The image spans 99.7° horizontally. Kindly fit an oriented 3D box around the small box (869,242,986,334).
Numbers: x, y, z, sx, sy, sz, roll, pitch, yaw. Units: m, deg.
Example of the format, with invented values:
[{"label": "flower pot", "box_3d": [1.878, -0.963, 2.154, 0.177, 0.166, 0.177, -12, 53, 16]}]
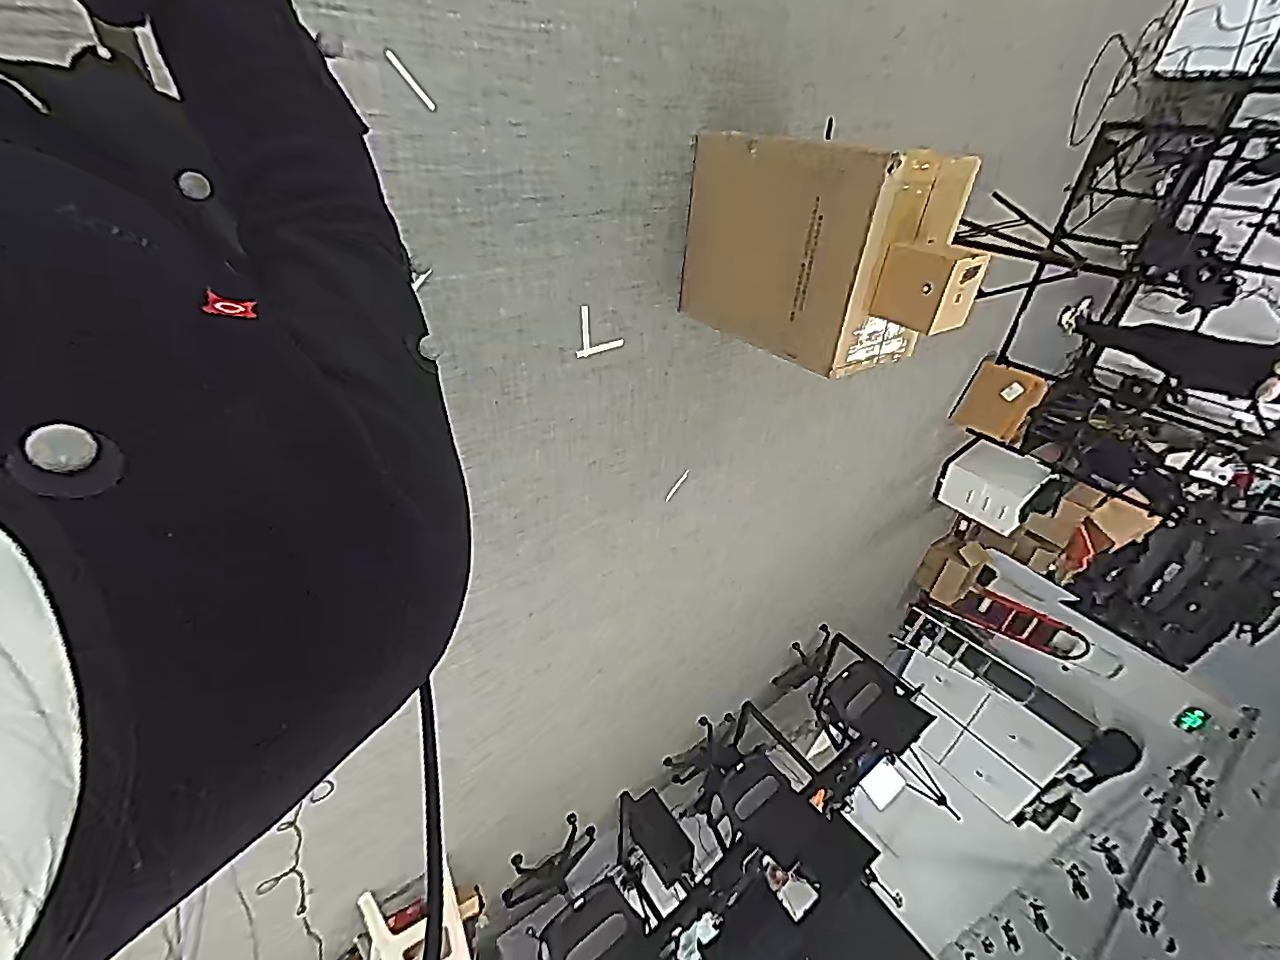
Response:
[{"label": "small box", "box_3d": [0.694, -0.476, 1.324, 0.168, 0.176, 0.179, -20, 132, -31]}]
